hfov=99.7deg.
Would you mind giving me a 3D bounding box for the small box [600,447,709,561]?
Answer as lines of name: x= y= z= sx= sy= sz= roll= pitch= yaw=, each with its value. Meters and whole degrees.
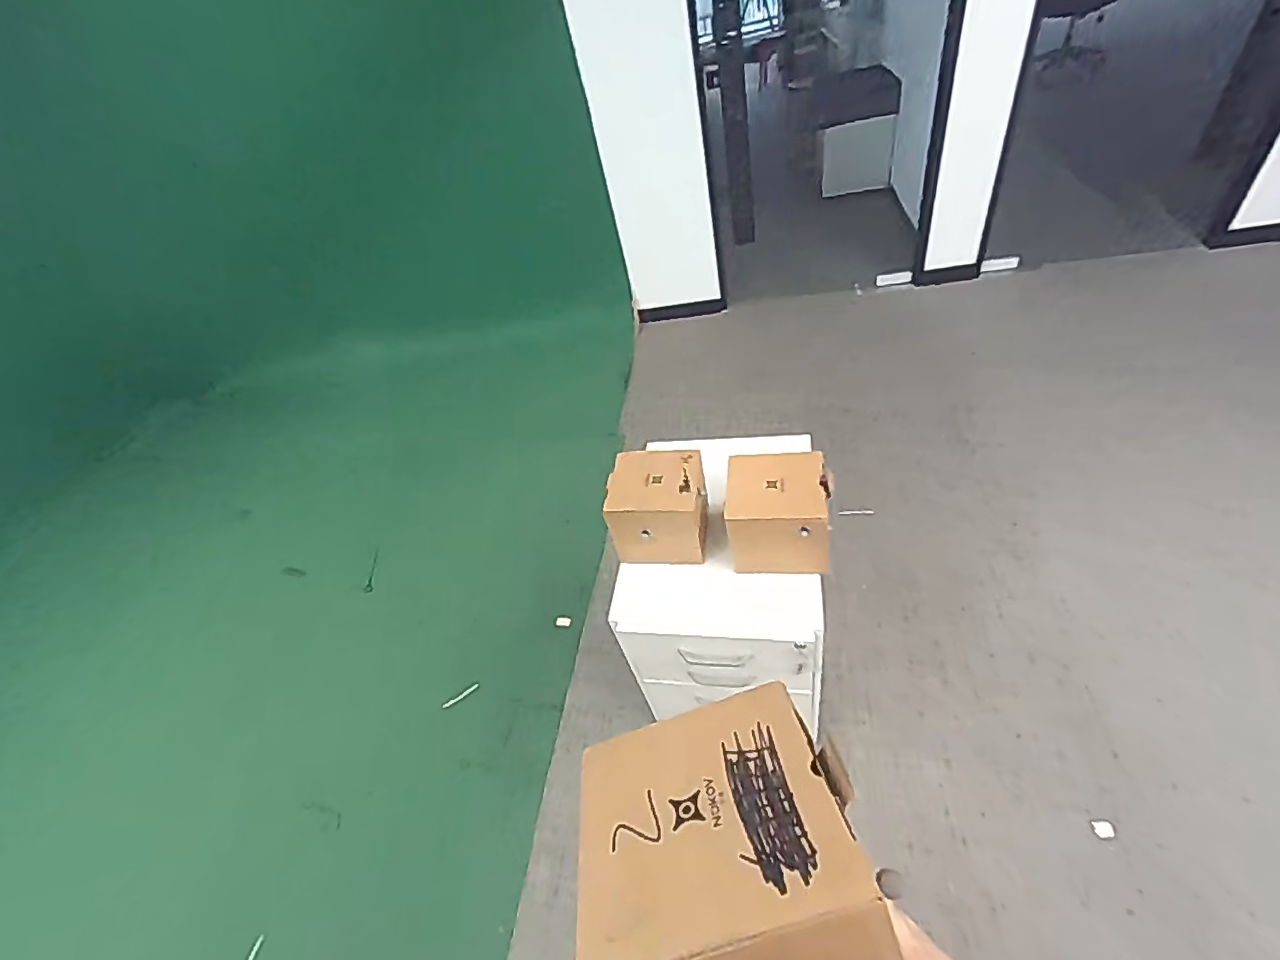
small box: x=0.038 y=0.051 z=1.096 sx=0.179 sy=0.176 sz=0.168 roll=-2 pitch=47 yaw=14
